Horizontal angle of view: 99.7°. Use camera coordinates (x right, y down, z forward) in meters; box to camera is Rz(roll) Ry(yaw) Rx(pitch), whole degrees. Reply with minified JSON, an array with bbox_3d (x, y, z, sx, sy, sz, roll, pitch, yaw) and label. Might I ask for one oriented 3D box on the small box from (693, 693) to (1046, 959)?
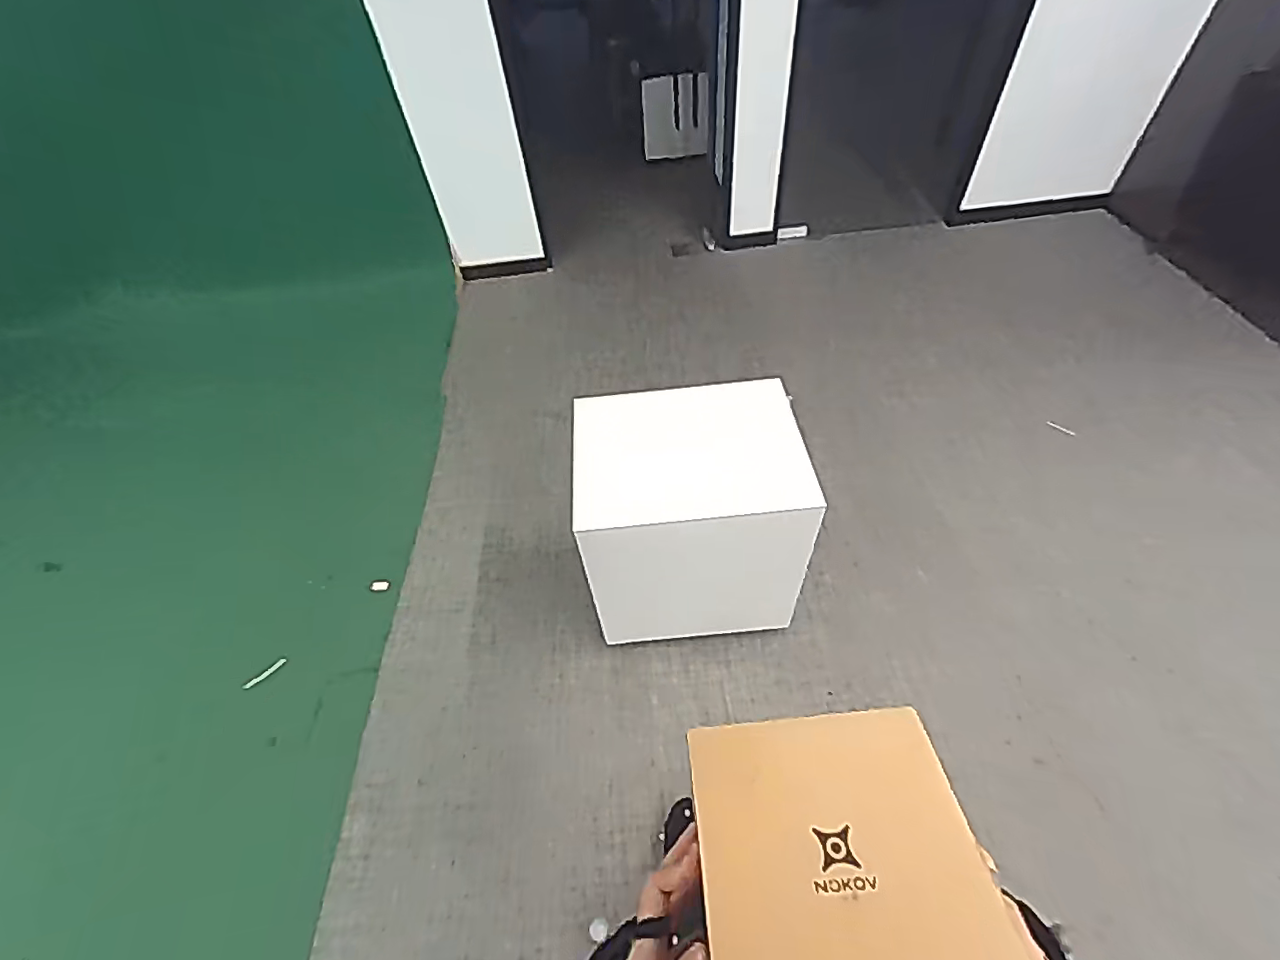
[{"bbox_3d":[0.130,0.277,0.372,0.168,0.176,0.179,-8,38,2],"label":"small box"}]
